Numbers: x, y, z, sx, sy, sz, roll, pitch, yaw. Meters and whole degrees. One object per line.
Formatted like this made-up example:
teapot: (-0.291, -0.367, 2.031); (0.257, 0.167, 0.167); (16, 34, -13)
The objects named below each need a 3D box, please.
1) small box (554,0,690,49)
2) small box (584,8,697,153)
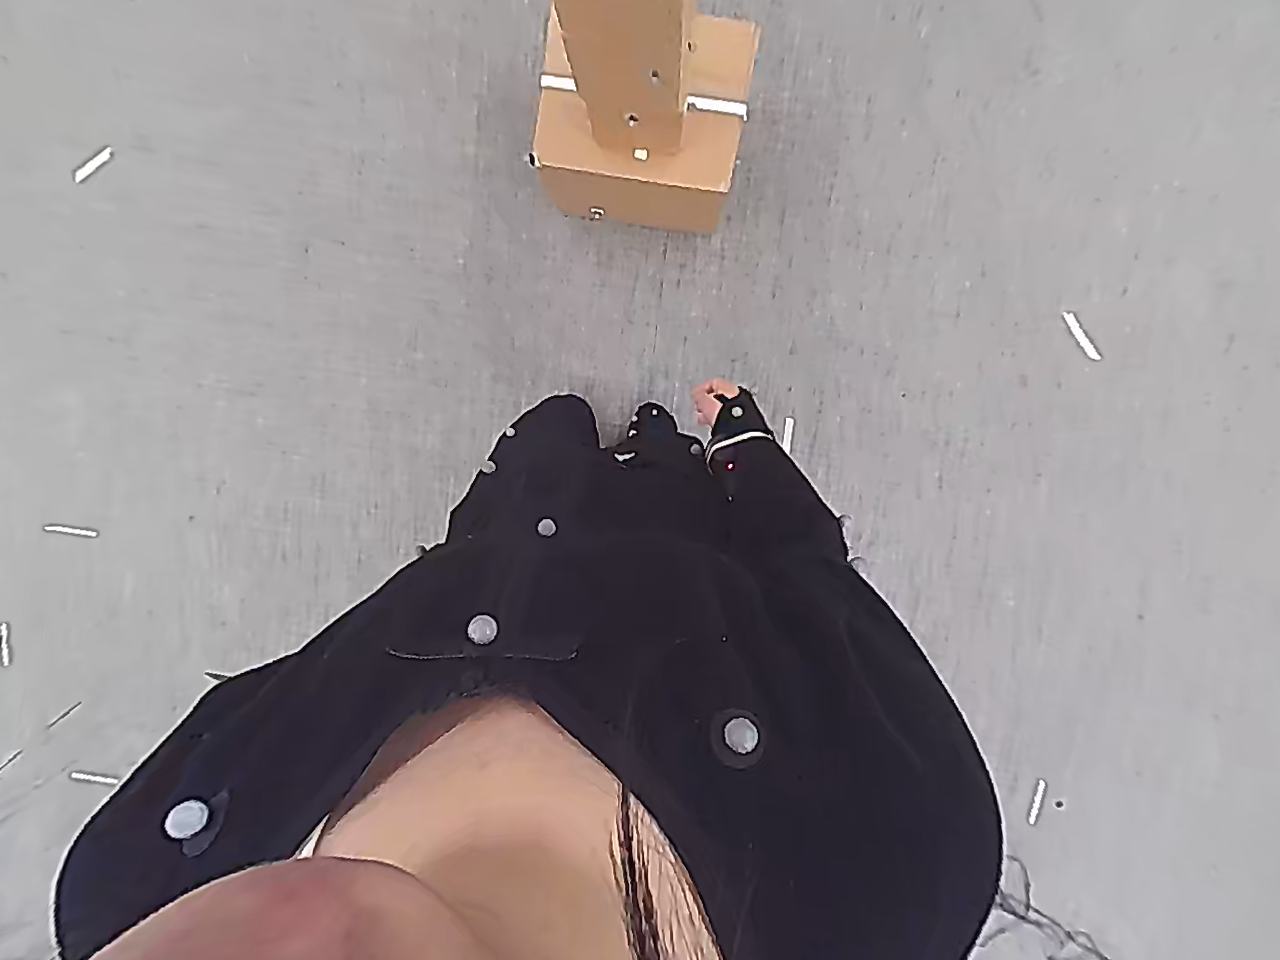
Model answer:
small box: (-0.014, -0.677, 0.665); (0.179, 0.176, 0.168); (11, 99, 1)
small box: (0.002, -0.725, 0.990); (0.179, 0.176, 0.168); (7, 100, 1)
